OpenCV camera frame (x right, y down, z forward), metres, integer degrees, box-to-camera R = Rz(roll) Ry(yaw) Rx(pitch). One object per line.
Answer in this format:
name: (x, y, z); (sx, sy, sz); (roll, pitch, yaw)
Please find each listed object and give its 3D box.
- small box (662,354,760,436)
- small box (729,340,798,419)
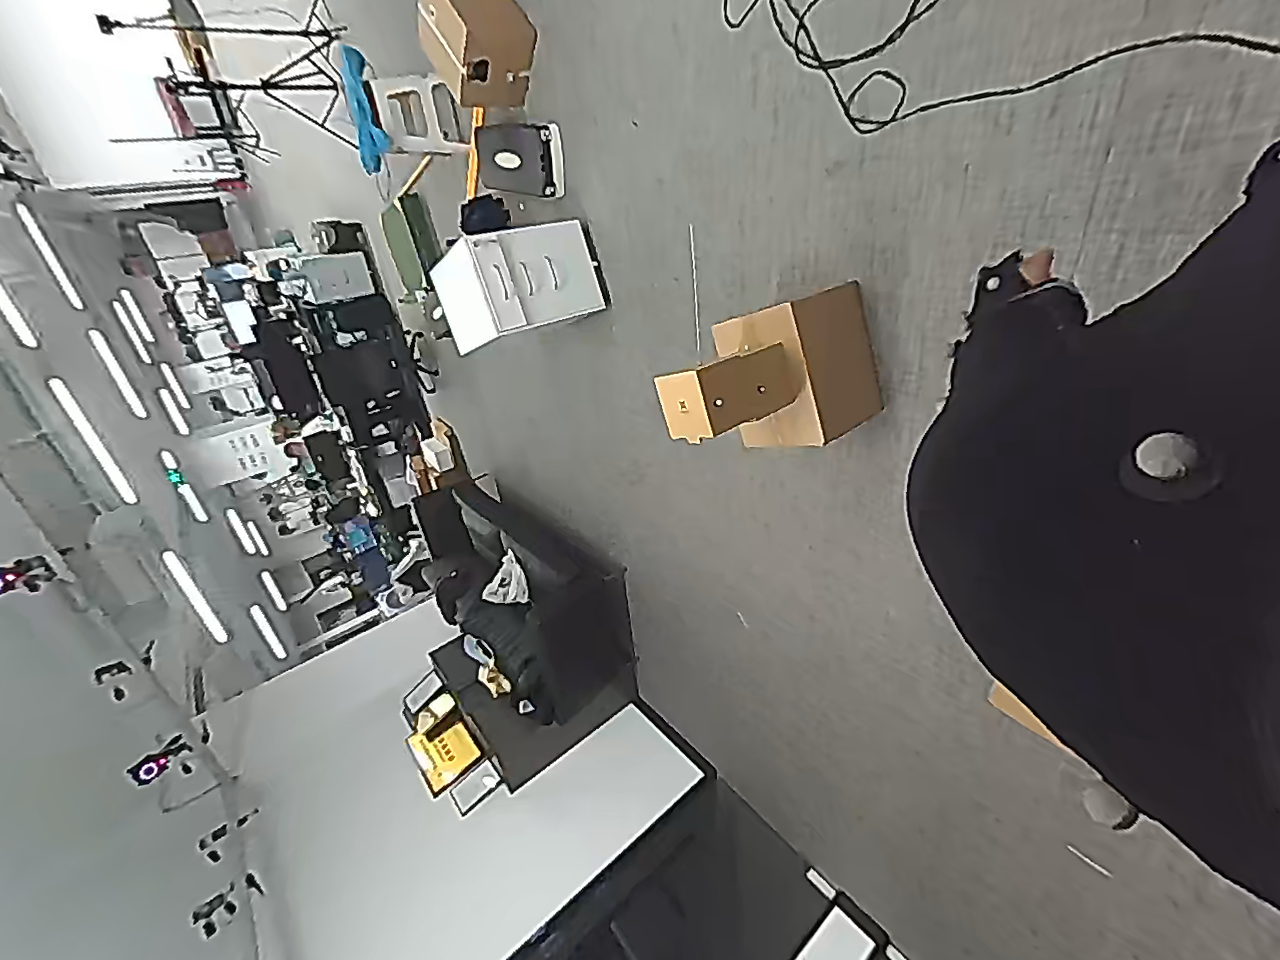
small box: (0.191, -0.228, 1.432); (0.168, 0.176, 0.179); (4, 116, 54)
small box: (0.319, -0.276, 1.520); (0.168, 0.176, 0.179); (3, 114, 55)
